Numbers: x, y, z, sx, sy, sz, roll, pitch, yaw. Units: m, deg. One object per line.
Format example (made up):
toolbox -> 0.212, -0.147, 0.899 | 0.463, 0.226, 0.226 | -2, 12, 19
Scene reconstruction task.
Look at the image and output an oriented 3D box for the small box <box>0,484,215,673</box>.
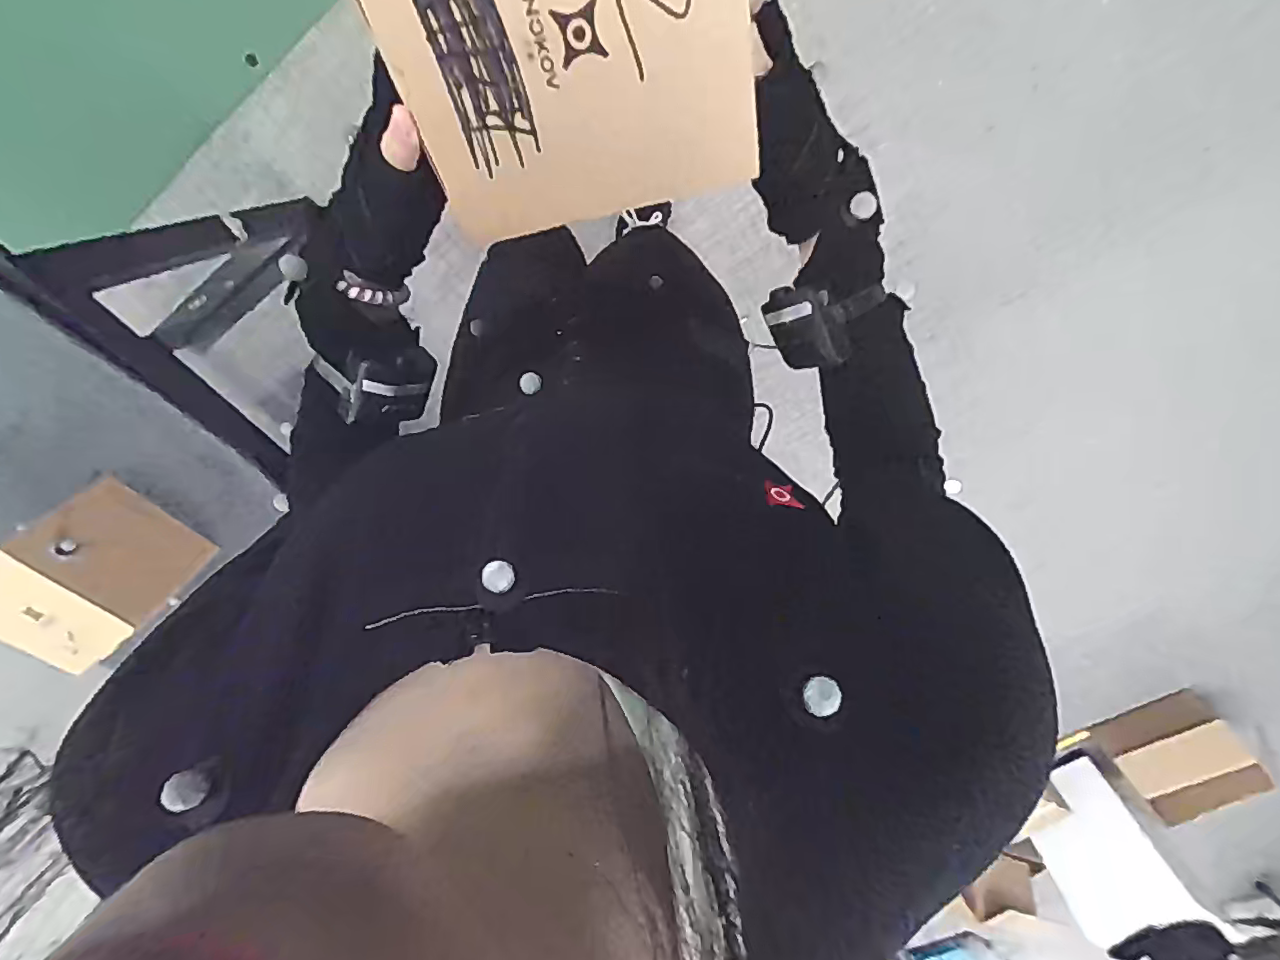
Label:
small box -> -0.768, 0.128, 0.760 | 0.168, 0.176, 0.179 | -31, 118, 18
